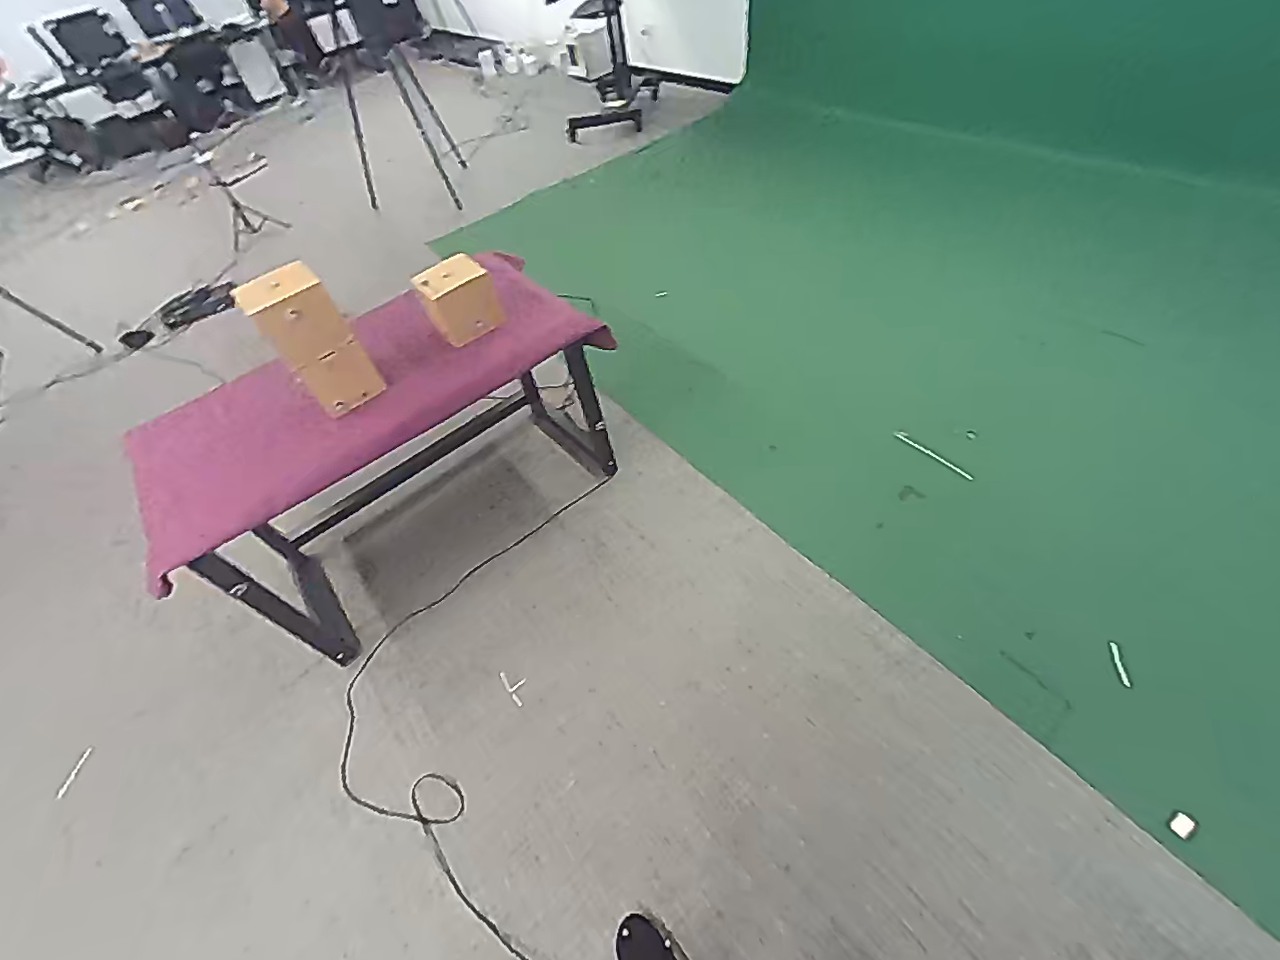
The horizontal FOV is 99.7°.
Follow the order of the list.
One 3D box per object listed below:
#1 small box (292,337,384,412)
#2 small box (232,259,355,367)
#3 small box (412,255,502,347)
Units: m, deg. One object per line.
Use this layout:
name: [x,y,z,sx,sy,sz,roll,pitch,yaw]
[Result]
small box: [-0.825,-0.307,1.456,0.168,0.176,0.179,-36,53,-20]
small box: [-0.845,-0.408,1.330,0.179,0.176,0.168,-36,55,-20]
small box: [-0.524,-0.523,1.581,0.179,0.176,0.168,-35,53,-19]
